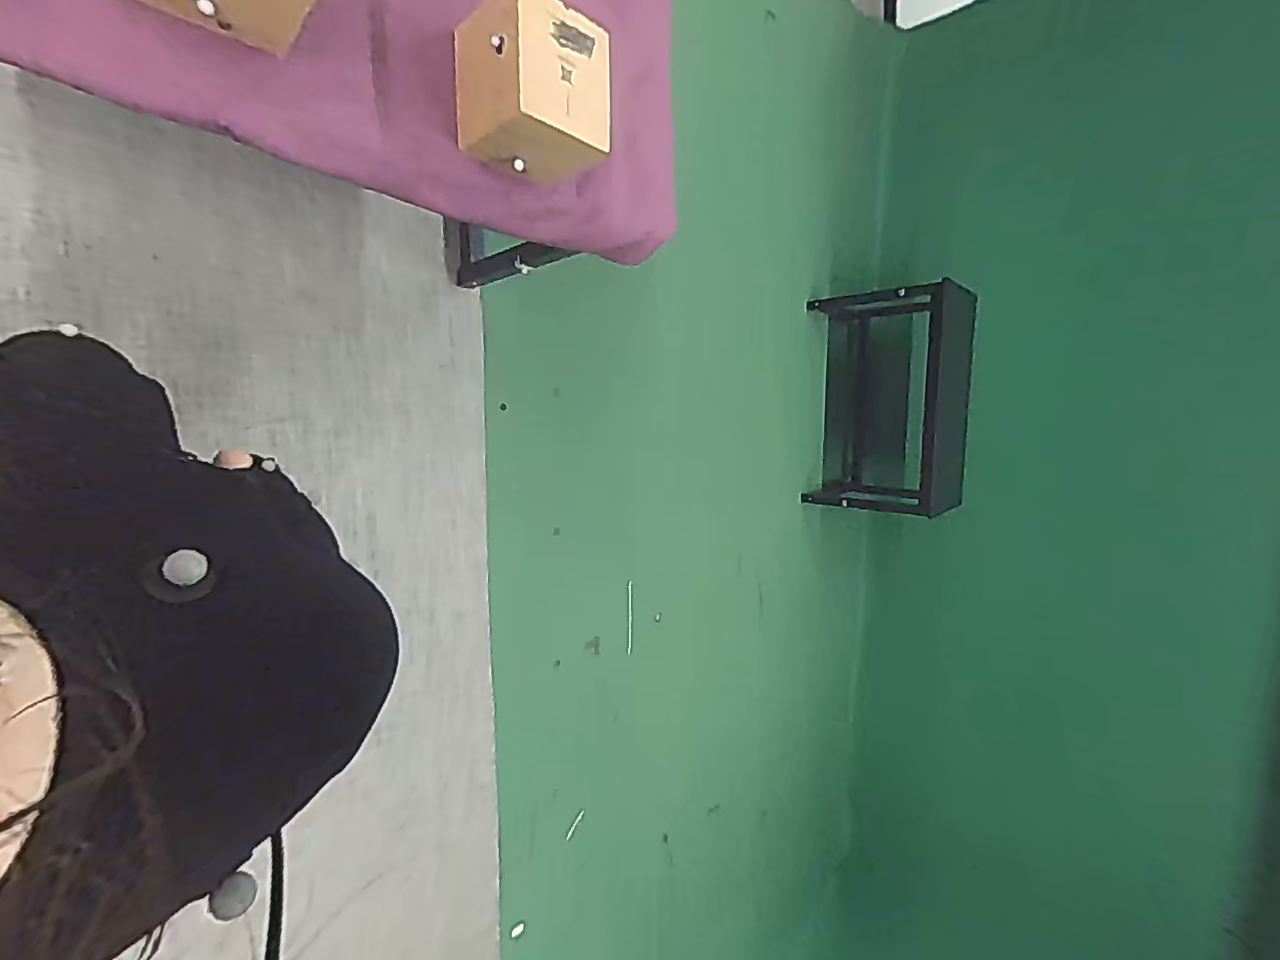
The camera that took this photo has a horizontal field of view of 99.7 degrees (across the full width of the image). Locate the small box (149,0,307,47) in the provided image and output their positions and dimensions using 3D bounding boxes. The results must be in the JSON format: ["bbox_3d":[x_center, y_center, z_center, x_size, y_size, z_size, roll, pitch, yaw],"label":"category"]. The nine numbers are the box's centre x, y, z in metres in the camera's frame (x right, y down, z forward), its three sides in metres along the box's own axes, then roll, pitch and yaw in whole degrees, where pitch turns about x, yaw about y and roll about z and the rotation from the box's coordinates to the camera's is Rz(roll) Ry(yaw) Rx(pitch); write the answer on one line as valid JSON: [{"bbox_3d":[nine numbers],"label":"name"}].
[{"bbox_3d":[-0.435,-0.588,0.528,0.168,0.176,0.179,-9,100,-46],"label":"small box"}]

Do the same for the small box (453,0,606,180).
[{"bbox_3d":[-0.169,-0.592,0.820,0.168,0.176,0.179,-7,100,-46],"label":"small box"}]
